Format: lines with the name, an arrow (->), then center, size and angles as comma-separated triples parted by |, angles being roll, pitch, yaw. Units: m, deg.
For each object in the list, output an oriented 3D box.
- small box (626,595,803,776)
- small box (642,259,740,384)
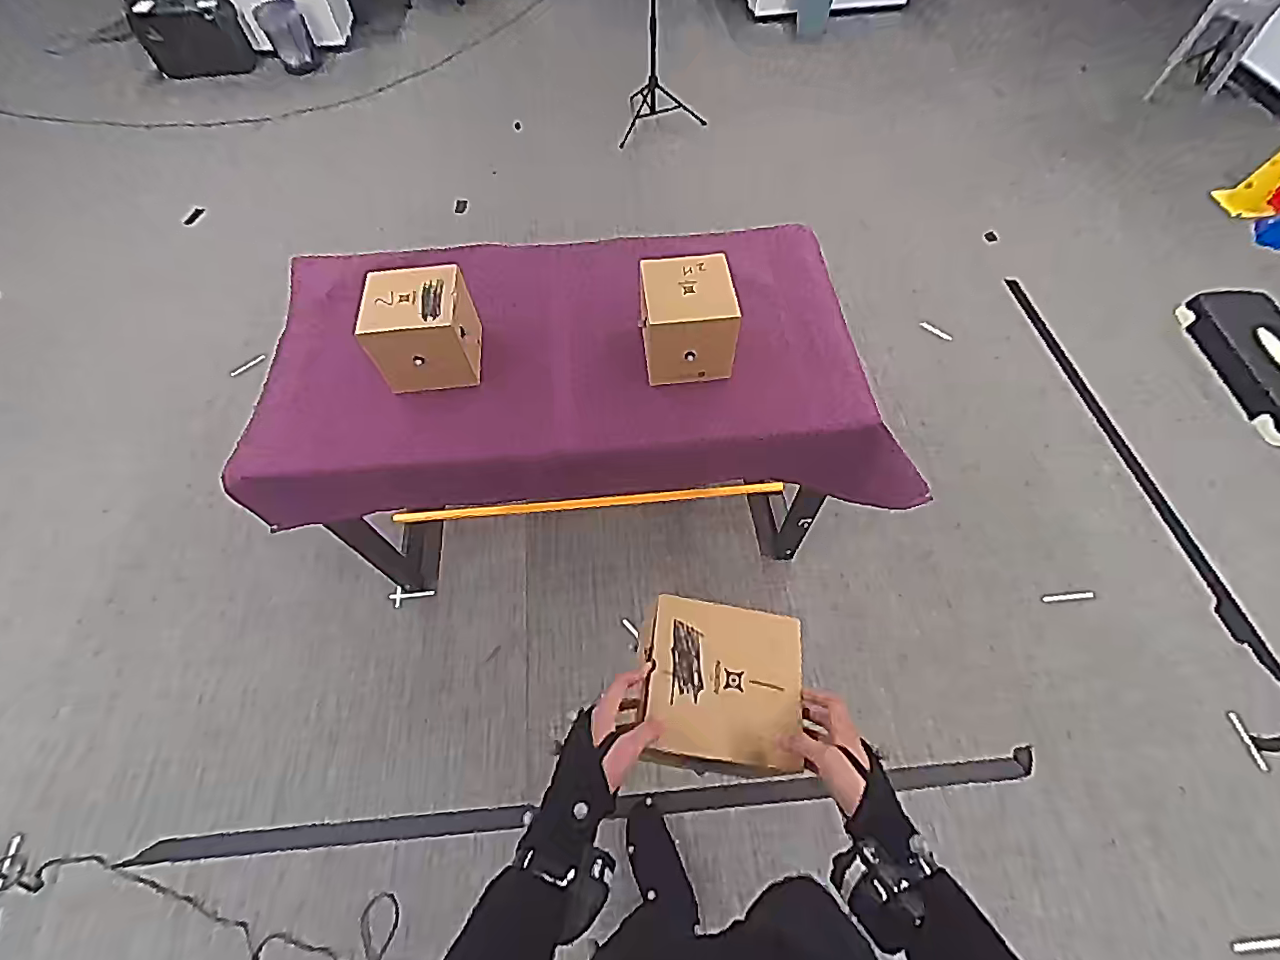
small box -> 0.085, 0.259, 0.666 | 0.179, 0.176, 0.168 | 11, 59, -3
small box -> 0.094, -0.304, 1.066 | 0.168, 0.176, 0.179 | -5, 60, -2
